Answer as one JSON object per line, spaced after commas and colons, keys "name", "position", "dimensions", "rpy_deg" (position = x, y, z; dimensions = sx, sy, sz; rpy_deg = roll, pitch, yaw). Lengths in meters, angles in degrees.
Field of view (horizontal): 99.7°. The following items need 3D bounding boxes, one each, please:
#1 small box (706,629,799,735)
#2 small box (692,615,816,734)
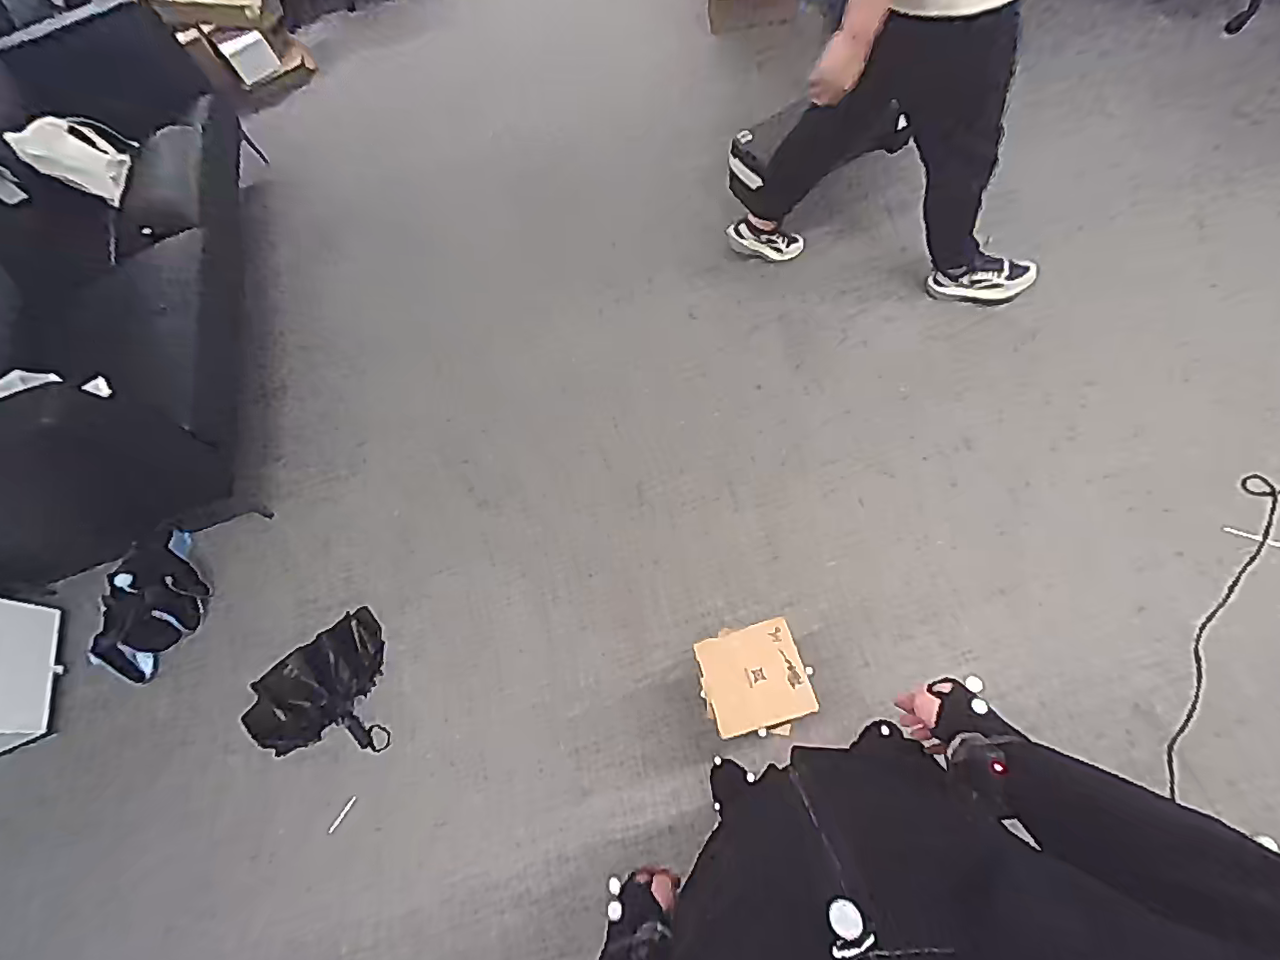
{"name": "small box", "position": [0.241, 0.433, 1.161], "dimensions": [0.168, 0.176, 0.179], "rpy_deg": [7, 69, 15]}
{"name": "small box", "position": [0.212, 0.369, 1.014], "dimensions": [0.179, 0.176, 0.168], "rpy_deg": [-18, 64, 4]}
